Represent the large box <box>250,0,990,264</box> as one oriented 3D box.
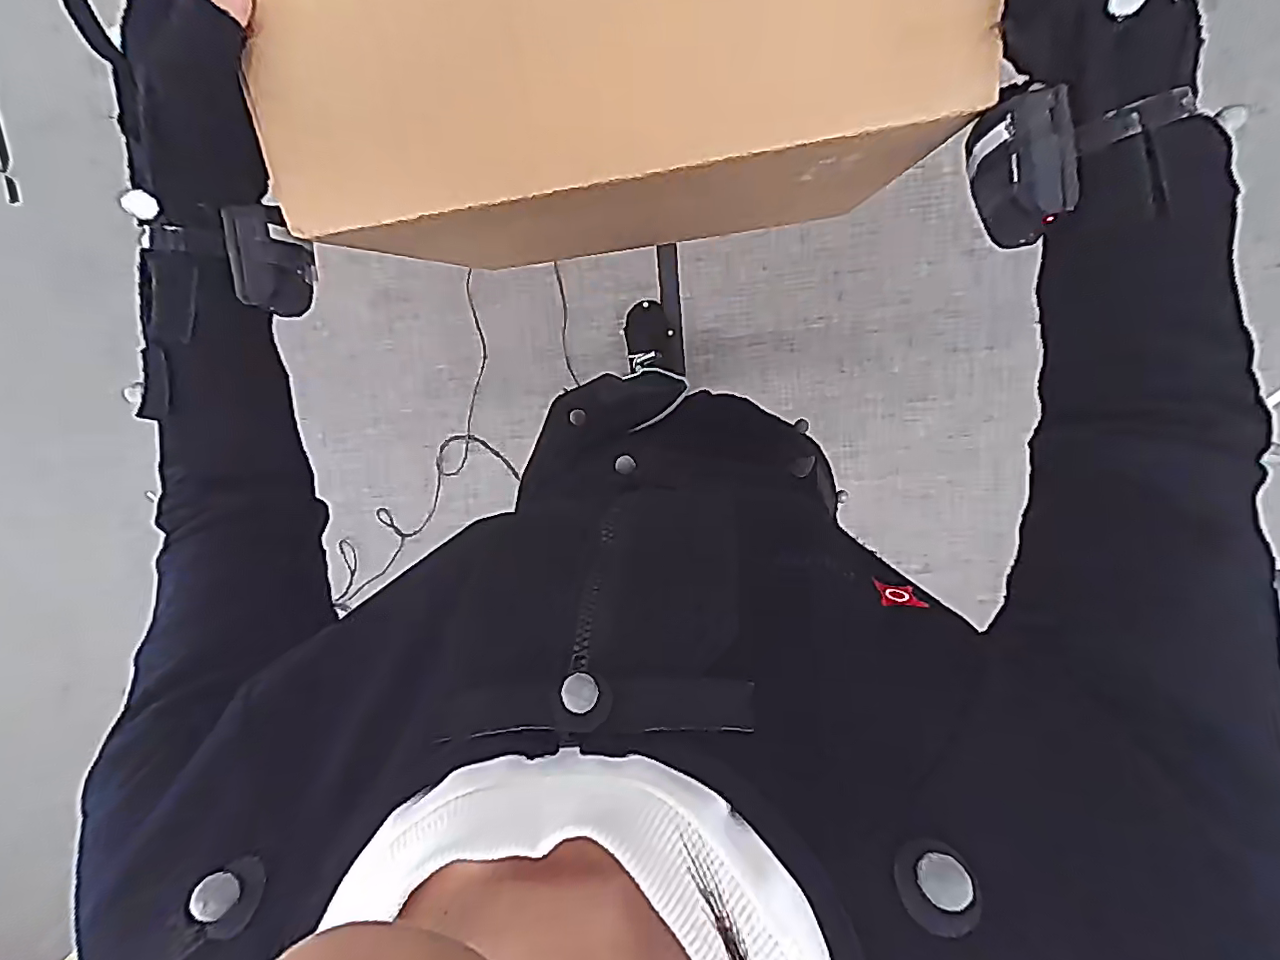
[{"bbox_3d":[-0.019,-0.373,0.415,0.408,0.320,0.320,-6,107,9],"label":"large box"}]
